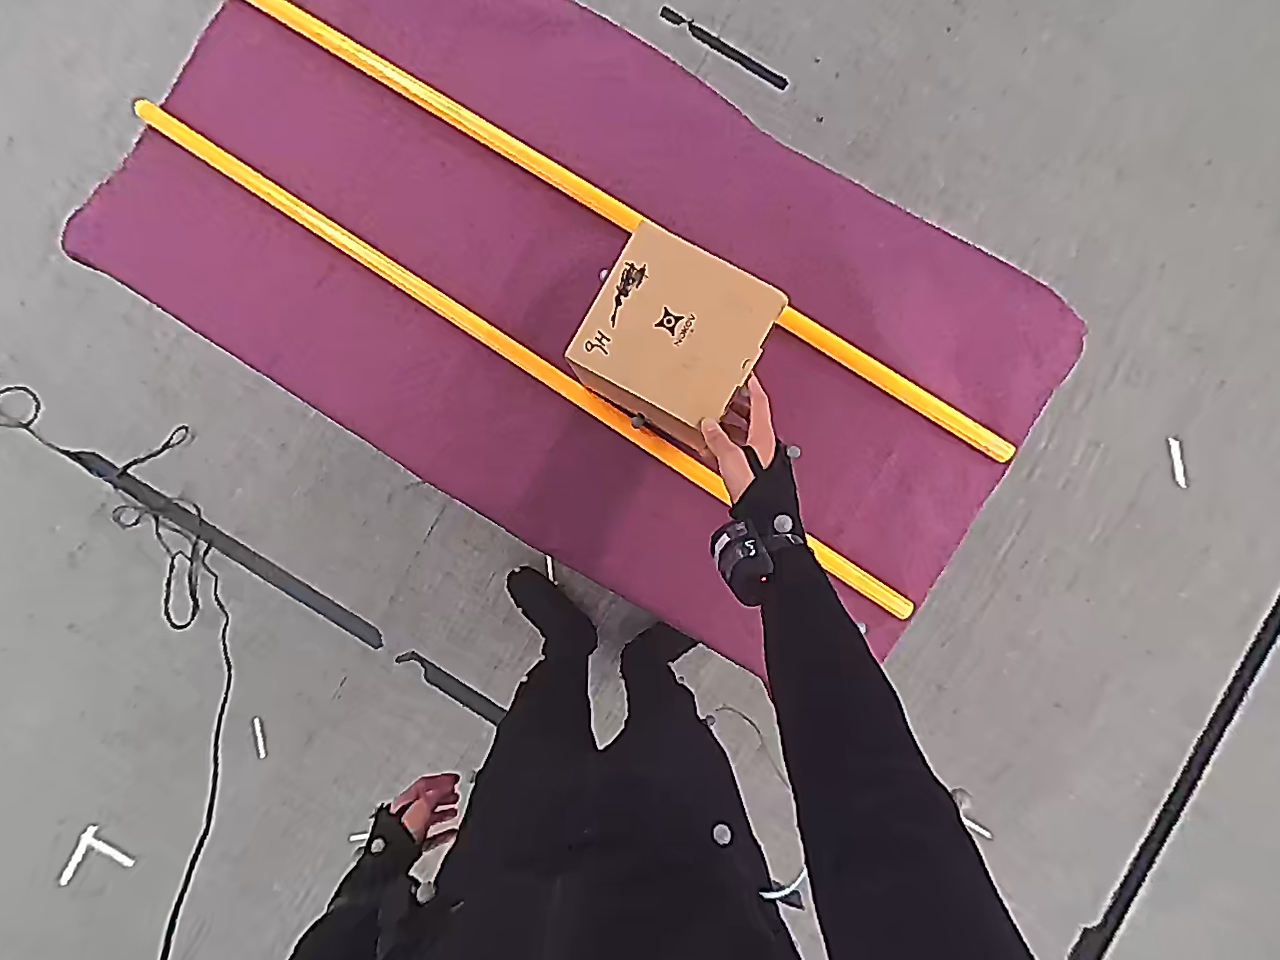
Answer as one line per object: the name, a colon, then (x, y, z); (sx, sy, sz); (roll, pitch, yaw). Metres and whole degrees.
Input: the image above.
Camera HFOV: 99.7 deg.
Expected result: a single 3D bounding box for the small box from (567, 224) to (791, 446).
small box: (0.042, -0.149, 0.626); (0.179, 0.176, 0.168); (30, 90, 2)
